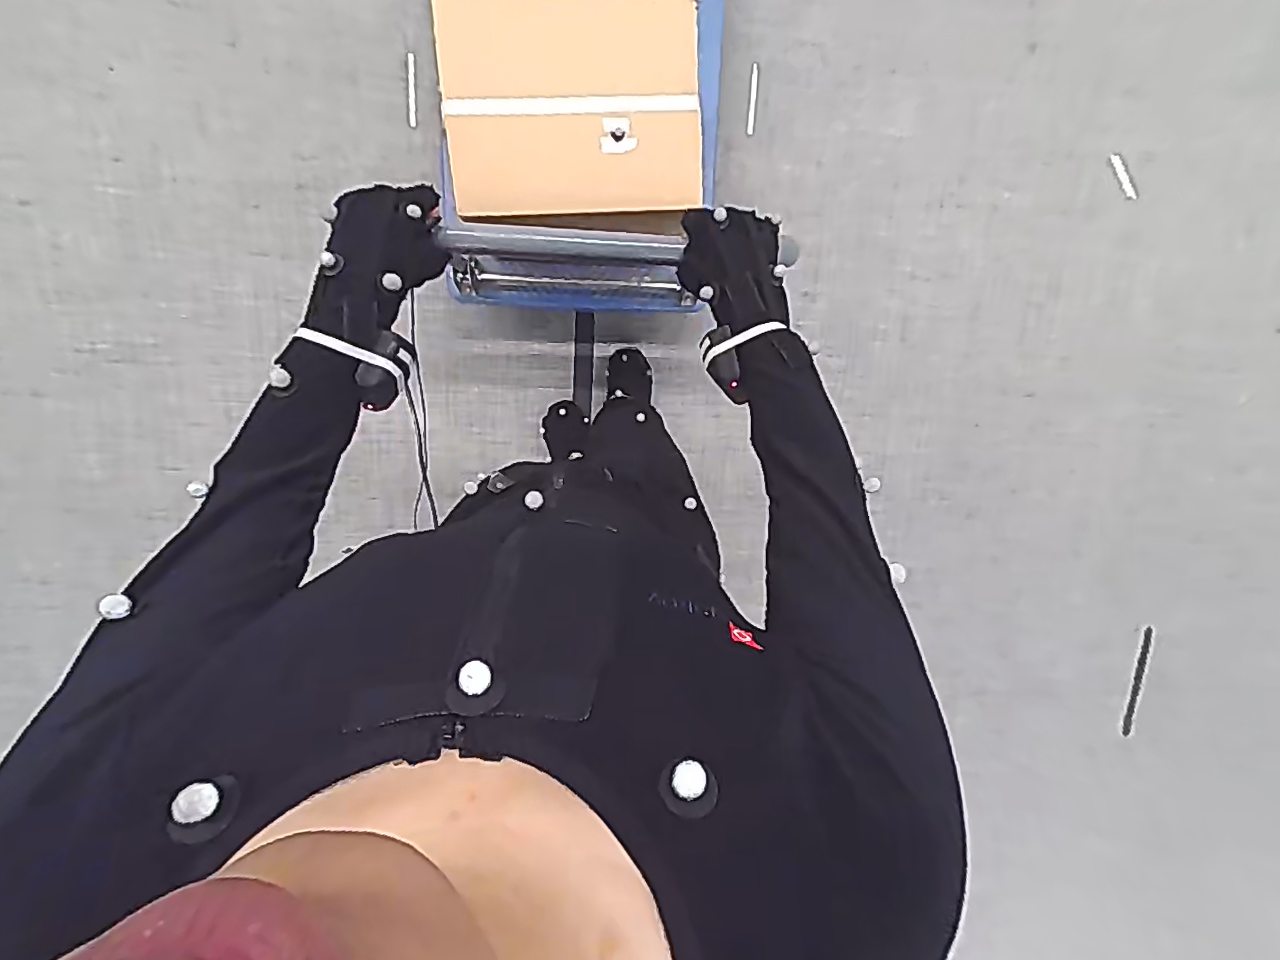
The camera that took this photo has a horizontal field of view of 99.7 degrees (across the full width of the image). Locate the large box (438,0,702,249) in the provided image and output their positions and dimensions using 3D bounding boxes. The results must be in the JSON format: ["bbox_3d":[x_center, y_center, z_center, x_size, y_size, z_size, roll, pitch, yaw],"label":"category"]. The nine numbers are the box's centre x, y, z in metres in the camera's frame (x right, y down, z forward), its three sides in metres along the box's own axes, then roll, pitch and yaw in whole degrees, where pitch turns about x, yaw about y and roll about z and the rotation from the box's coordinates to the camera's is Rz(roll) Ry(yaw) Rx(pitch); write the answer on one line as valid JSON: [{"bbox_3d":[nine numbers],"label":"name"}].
[{"bbox_3d":[-0.119,-0.636,1.011,0.408,0.320,0.320,-5,103,-6],"label":"large box"}]
